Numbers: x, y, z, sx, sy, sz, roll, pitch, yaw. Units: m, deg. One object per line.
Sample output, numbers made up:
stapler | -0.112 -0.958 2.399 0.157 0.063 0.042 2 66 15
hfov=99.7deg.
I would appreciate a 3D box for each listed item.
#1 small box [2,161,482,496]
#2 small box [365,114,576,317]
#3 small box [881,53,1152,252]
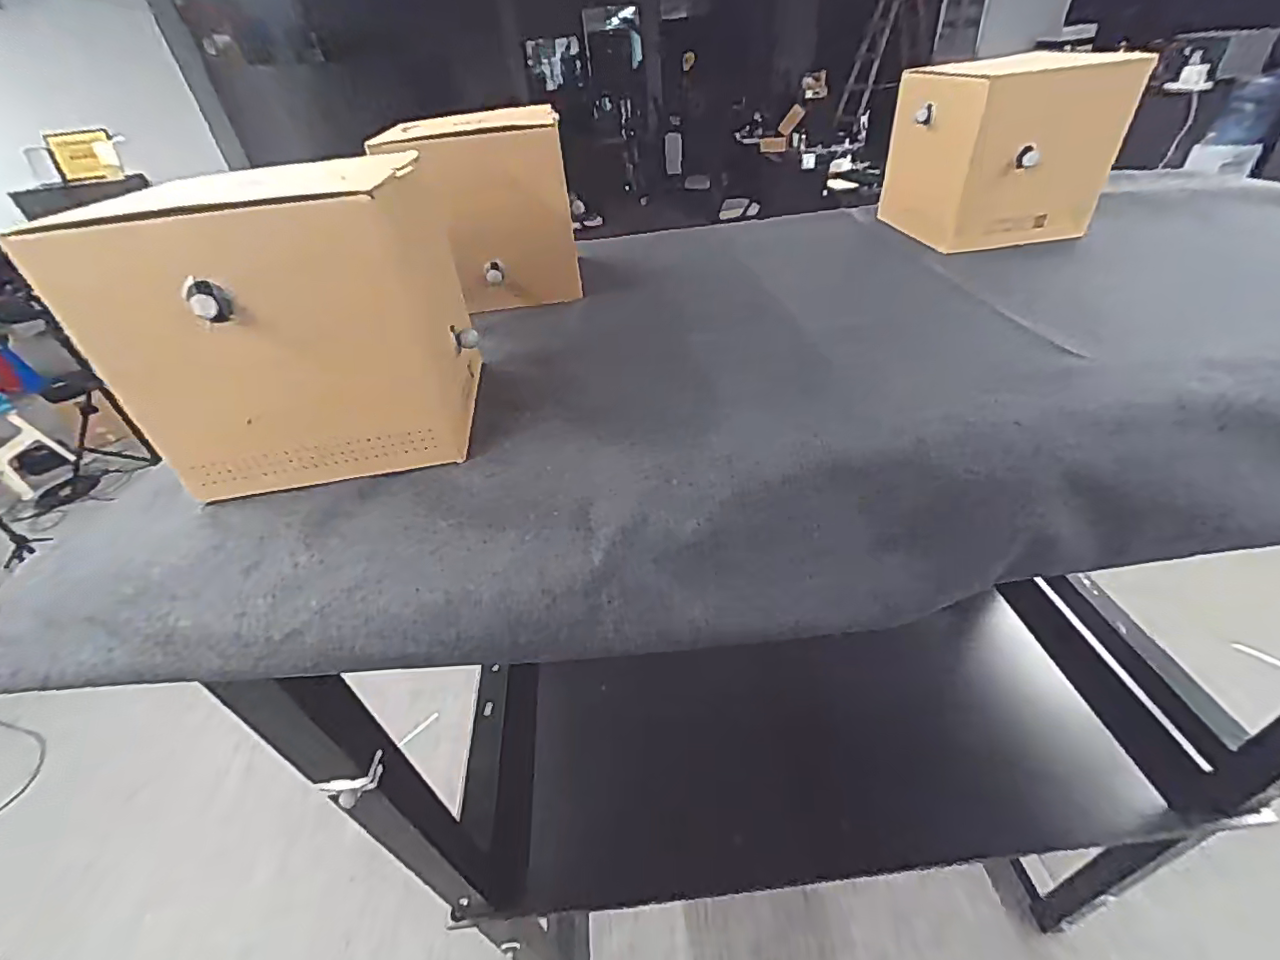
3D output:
small box | -0.223 -0.106 0.372 0.179 0.176 0.168 -9 38 -5
small box | -0.166 -0.292 0.601 0.179 0.176 0.168 -8 39 -3
small box | 0.405 -0.372 0.623 0.168 0.176 0.179 -8 39 -2
